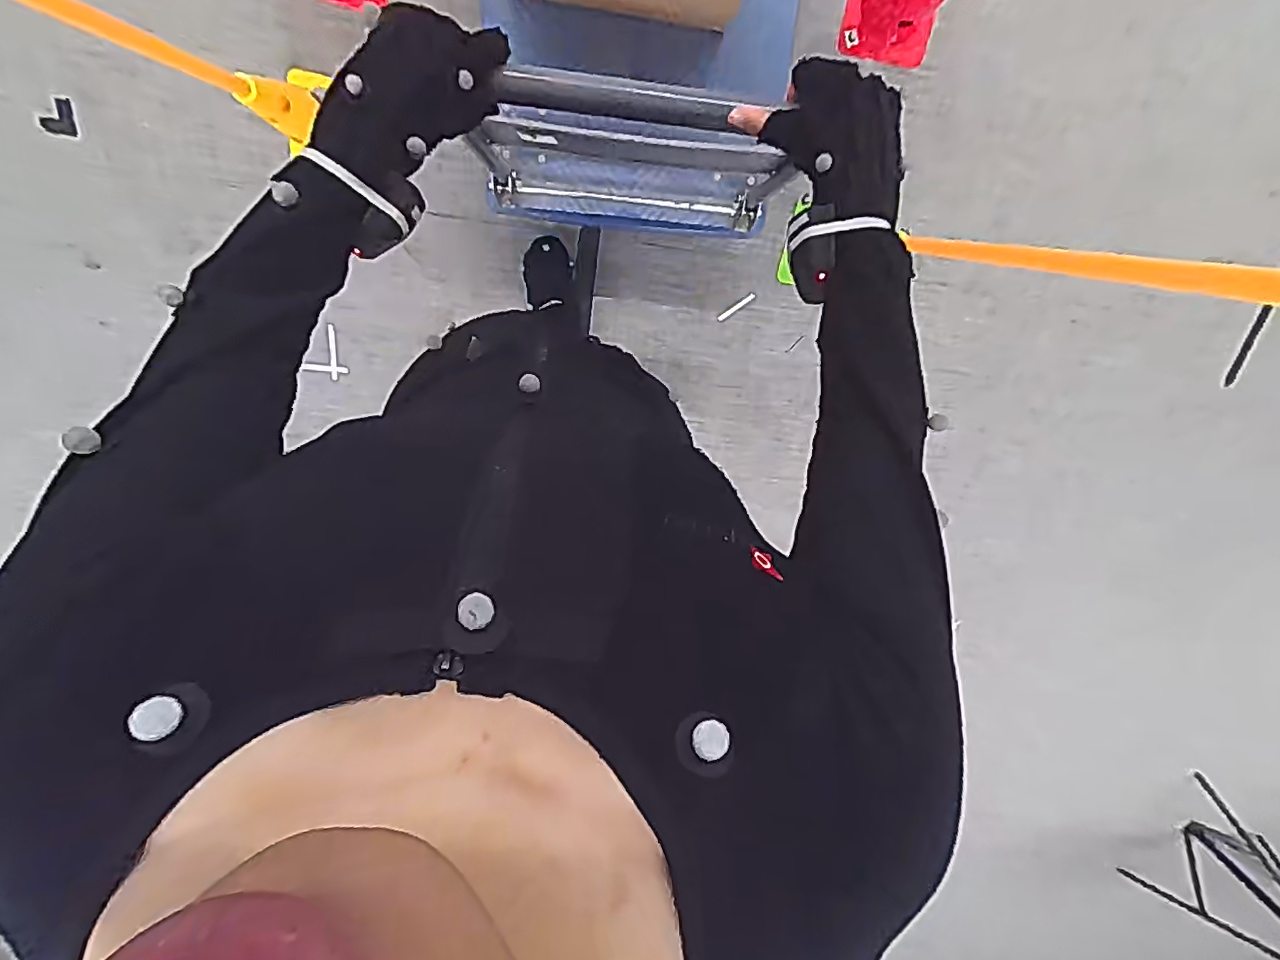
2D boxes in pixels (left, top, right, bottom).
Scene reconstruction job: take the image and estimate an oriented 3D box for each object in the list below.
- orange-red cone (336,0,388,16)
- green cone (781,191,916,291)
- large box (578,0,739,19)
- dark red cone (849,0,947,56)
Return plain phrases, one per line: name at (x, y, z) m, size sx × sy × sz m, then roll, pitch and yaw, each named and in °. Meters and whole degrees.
orange-red cone at (-0.571, -0.989, 0.897) m, size 0.198 × 0.360 × 0.199 m, roll 13°, pitch 110°, yaw -10°
green cone at (0.474, -0.514, 1.165) m, size 0.202 × 0.368 × 0.200 m, roll 9°, pitch 112°, yaw -9°
large box at (-0.011, -0.942, 0.793) m, size 0.408 × 0.320 × 0.320 m, roll 5°, pitch 113°, yaw -4°
dark red cone at (0.560, -0.950, 0.969) m, size 0.201 × 0.394 × 0.202 m, roll 5°, pitch 113°, yaw -8°
